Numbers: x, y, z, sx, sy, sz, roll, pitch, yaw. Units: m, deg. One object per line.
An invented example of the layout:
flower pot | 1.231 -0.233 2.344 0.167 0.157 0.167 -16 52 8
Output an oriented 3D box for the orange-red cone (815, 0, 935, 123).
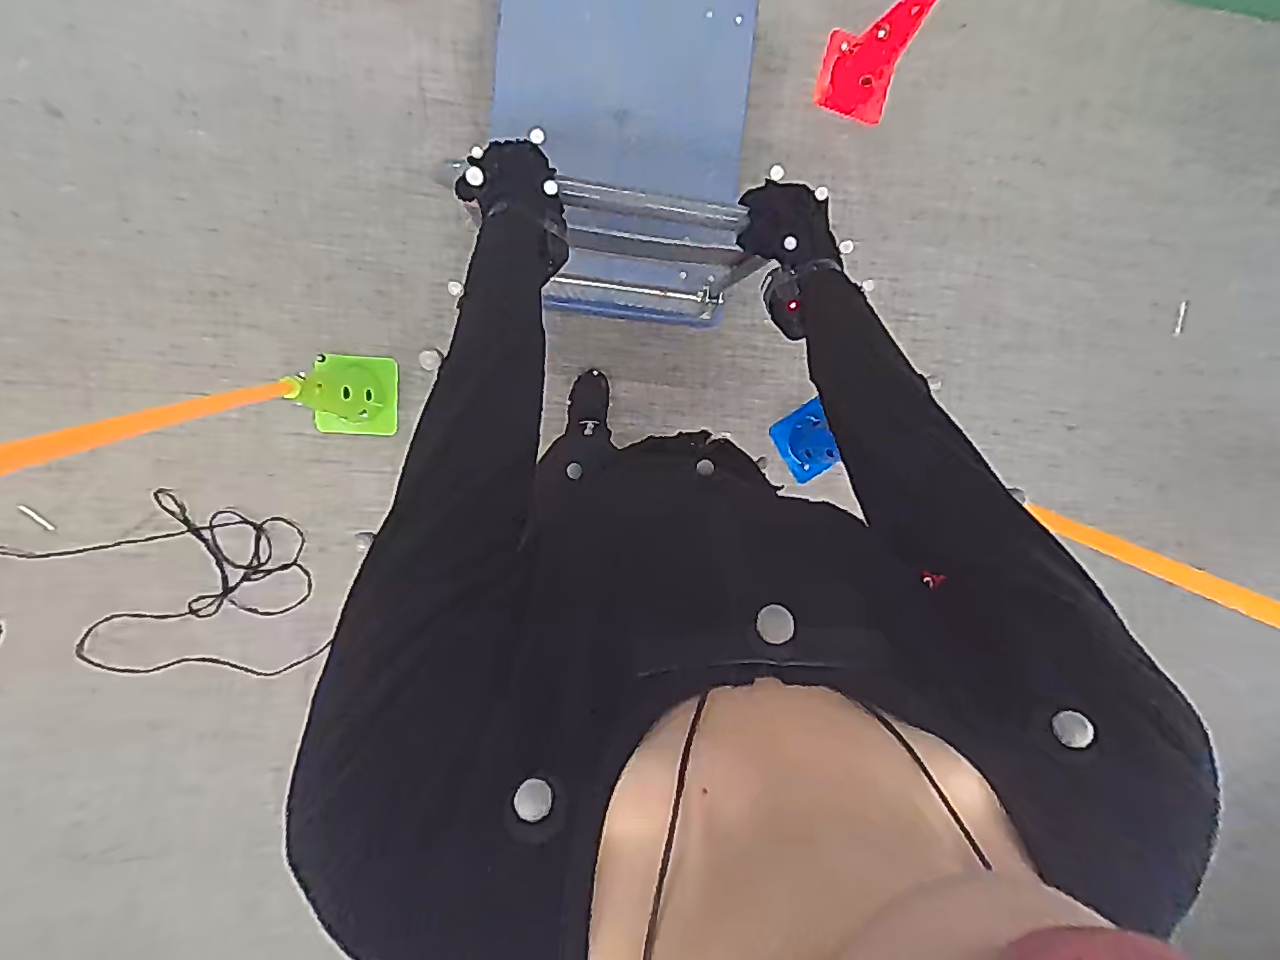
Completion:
orange-red cone | 0.603 -1.065 1.287 0.198 0.360 0.199 14 95 -8
